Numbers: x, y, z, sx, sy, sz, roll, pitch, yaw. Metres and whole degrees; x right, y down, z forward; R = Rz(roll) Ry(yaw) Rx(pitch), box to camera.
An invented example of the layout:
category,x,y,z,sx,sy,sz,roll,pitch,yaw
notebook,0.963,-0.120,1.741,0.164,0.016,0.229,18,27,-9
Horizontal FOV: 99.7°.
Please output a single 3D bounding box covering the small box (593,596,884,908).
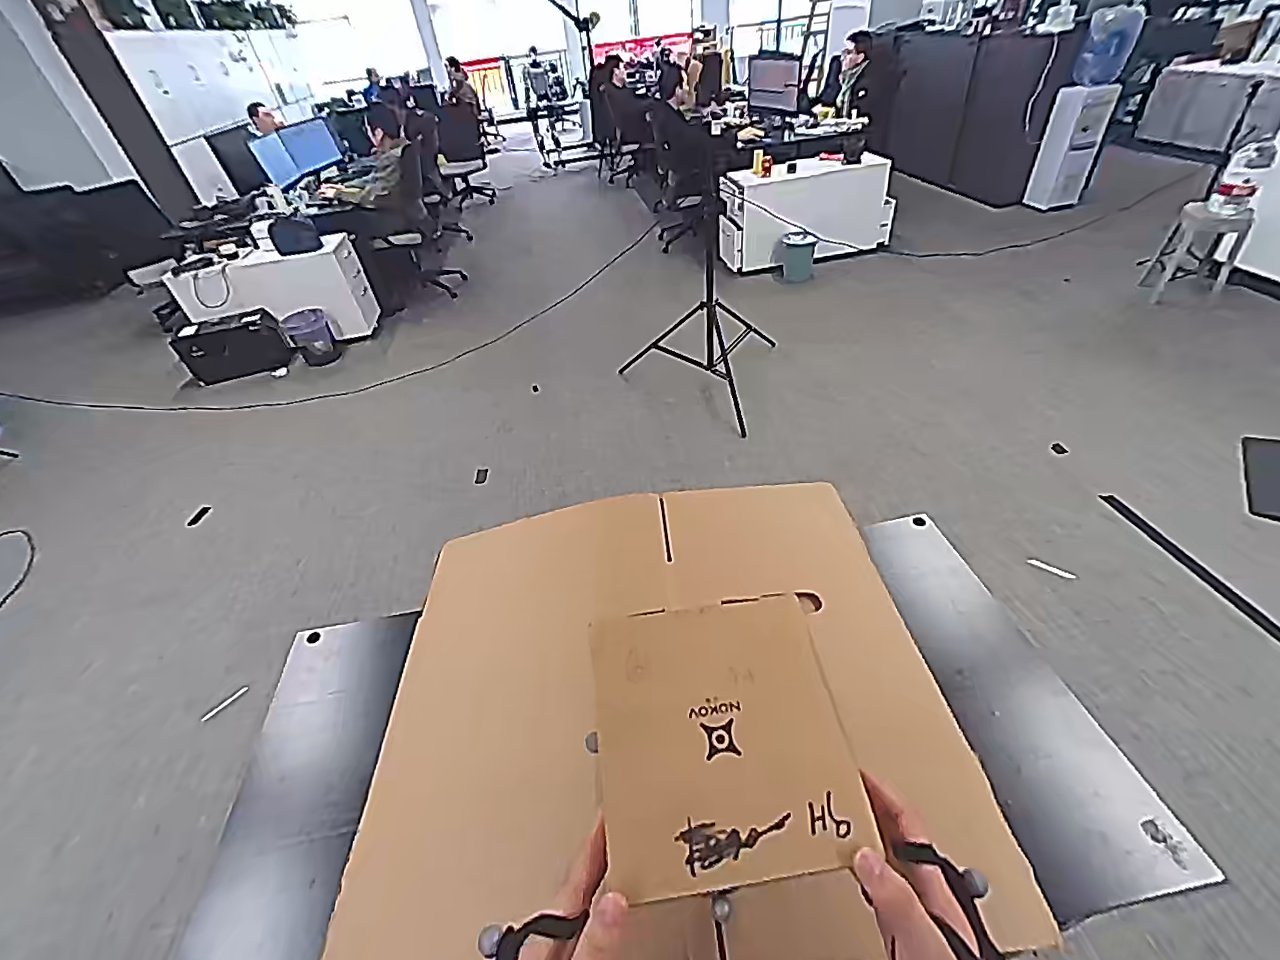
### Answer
category,x,y,z,sx,sy,sz,roll,pitch,yaw
small box,0.054,0.215,0.426,0.168,0.176,0.179,-7,52,-4
